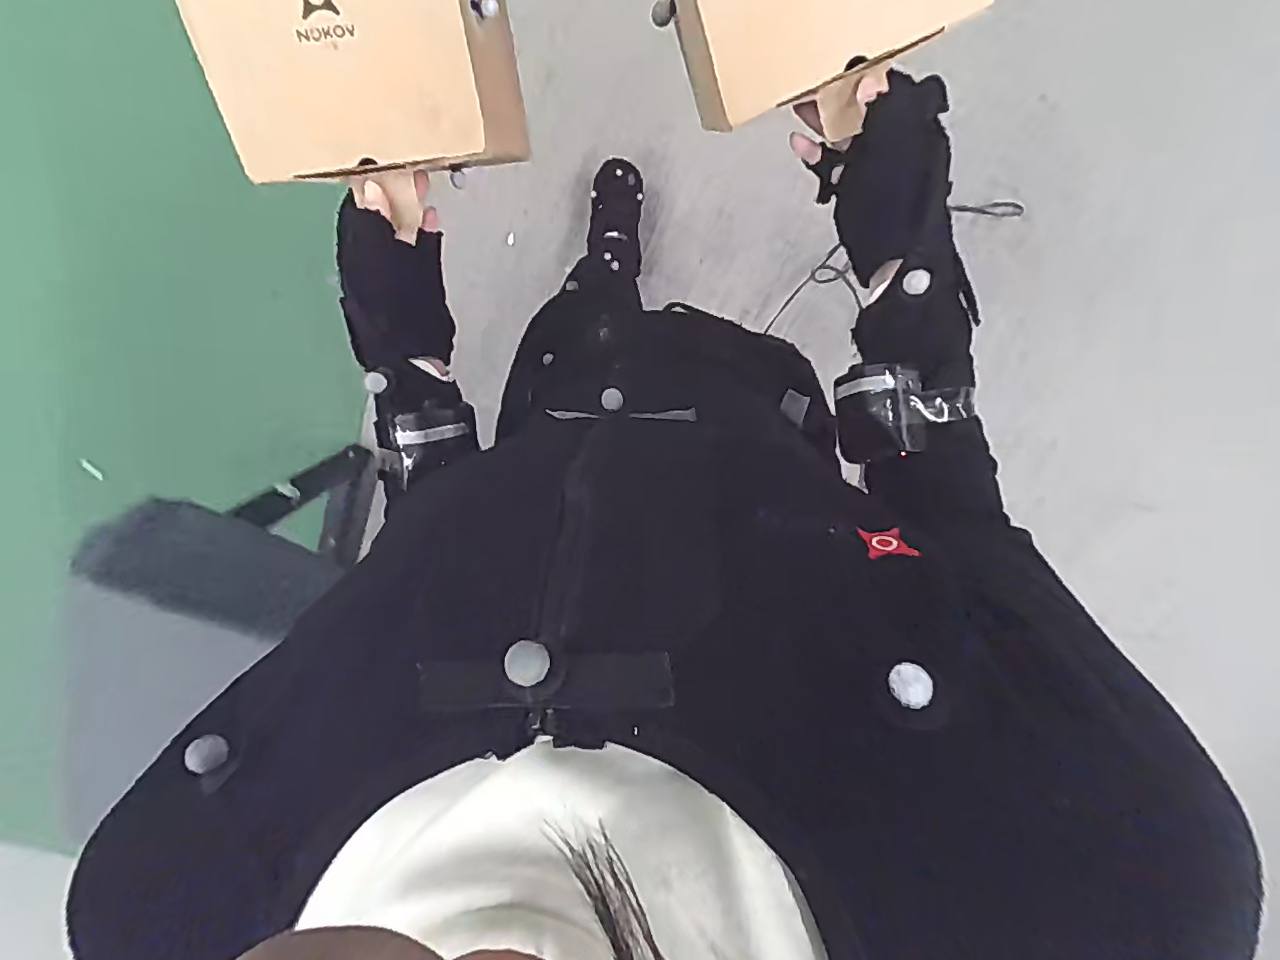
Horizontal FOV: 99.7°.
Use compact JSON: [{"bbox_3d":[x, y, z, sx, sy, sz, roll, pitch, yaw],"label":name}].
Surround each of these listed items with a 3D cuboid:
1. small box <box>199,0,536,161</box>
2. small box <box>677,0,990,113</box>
[{"bbox_3d":[-0.179,-0.335,0.383,0.168,0.176,0.179,-5,119,3],"label":"small box"},{"bbox_3d":[0.107,-0.375,0.358,0.168,0.176,0.179,-18,122,11],"label":"small box"}]
